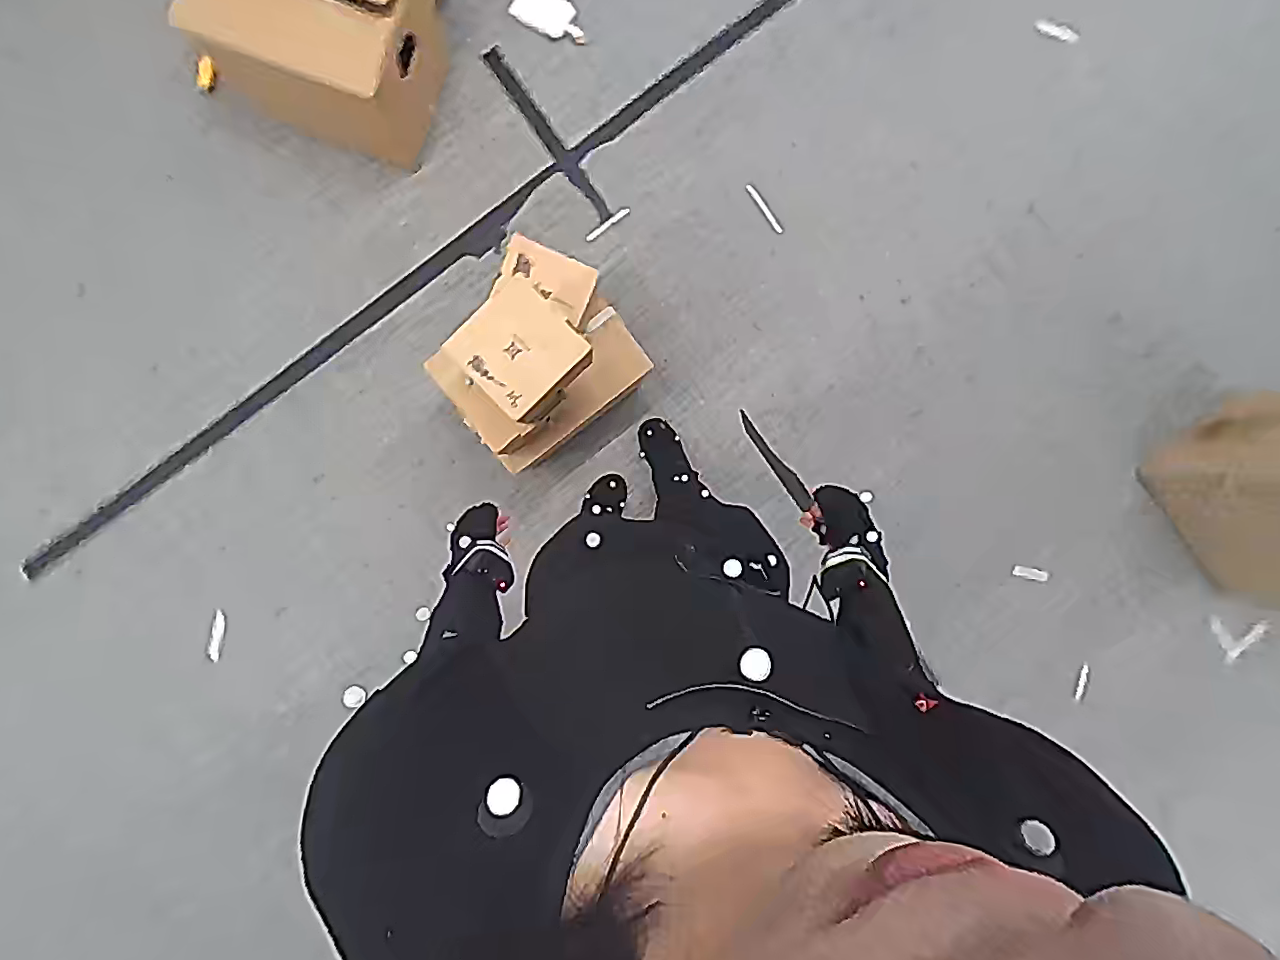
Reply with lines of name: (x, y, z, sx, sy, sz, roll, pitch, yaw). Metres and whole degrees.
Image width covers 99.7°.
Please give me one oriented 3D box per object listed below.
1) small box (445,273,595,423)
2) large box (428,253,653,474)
small box: (-0.197, -0.214, 0.926, 0.179, 0.176, 0.168, -44, 97, -1)
large box: (-0.230, -0.259, 1.330, 0.408, 0.320, 0.320, -40, 97, -3)
